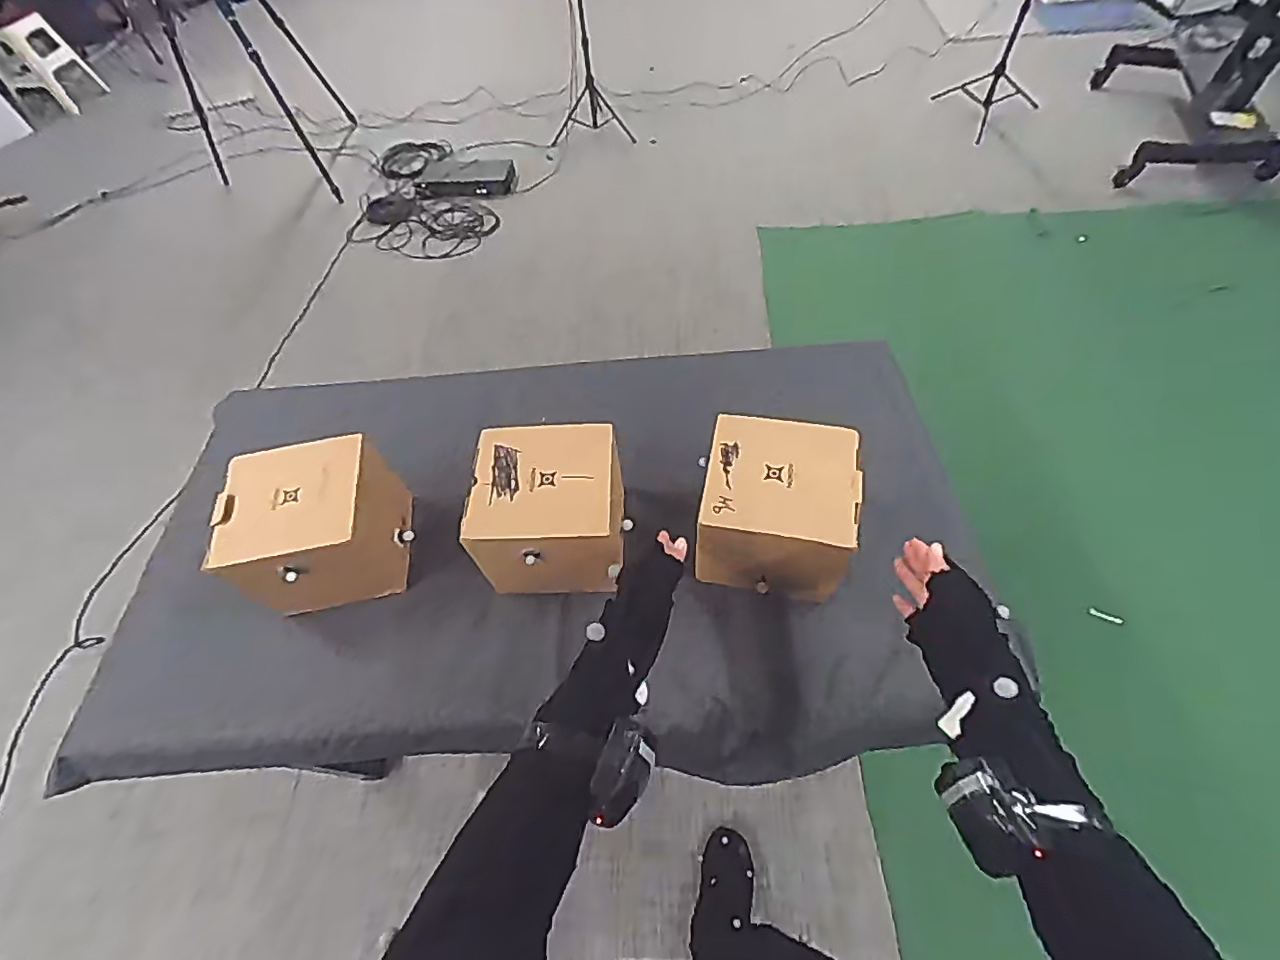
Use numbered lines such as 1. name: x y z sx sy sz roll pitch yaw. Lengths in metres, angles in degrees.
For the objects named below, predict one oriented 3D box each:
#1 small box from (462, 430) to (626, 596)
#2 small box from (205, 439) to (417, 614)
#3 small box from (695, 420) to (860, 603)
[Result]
1. small box: -0.115 0.050 0.728 0.179 0.176 0.168 -2 57 3
2. small box: -0.430 0.070 0.741 0.179 0.176 0.168 -10 58 -3
3. small box: 0.173 0.047 0.707 0.179 0.176 0.168 9 58 10
